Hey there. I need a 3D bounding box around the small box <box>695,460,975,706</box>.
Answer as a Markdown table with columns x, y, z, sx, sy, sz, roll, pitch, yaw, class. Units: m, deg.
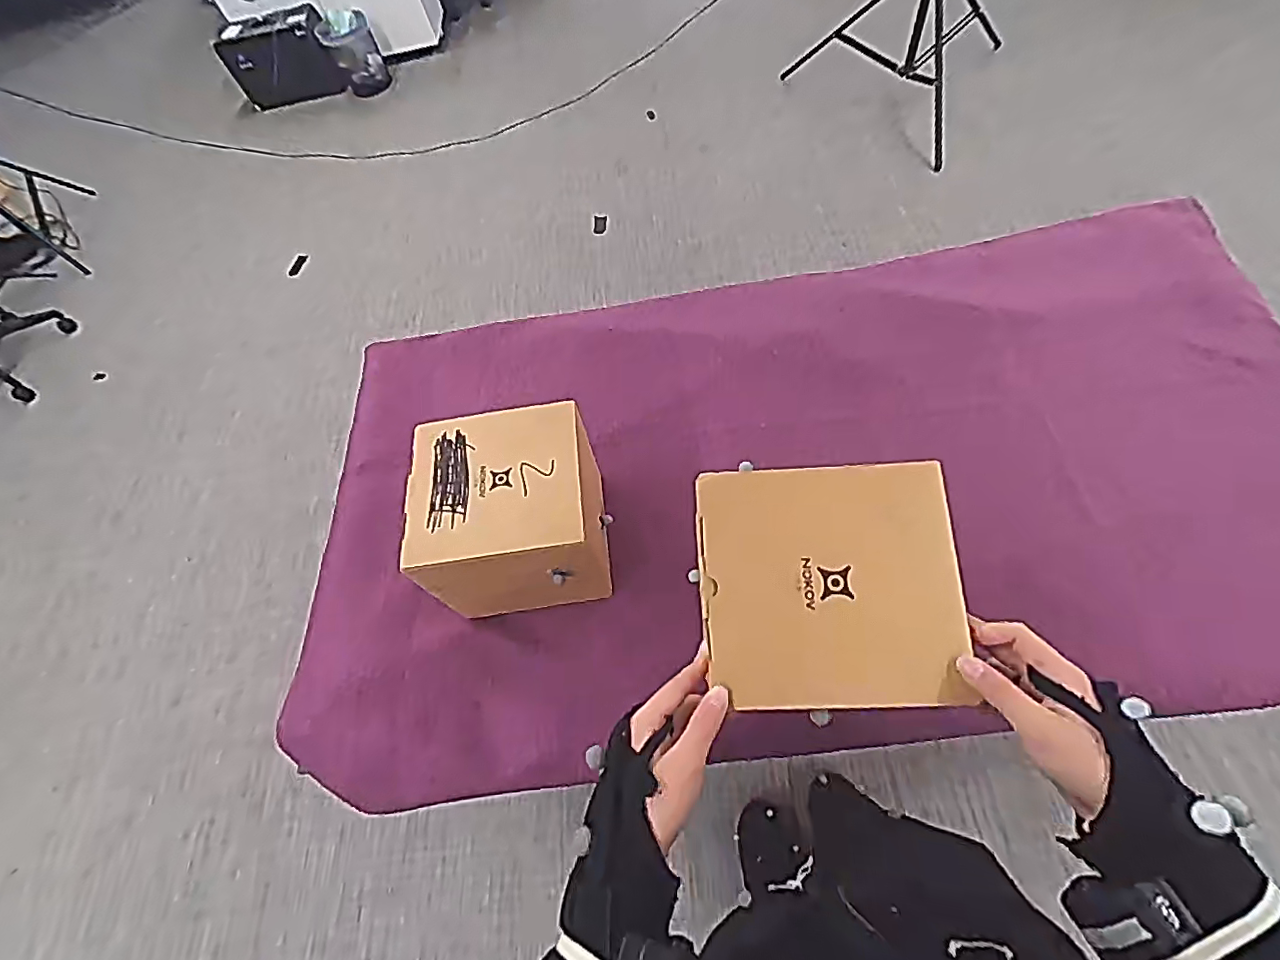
| x | y | z | sx | sy | sz | roll | pitch | yaw | class |
| --- | --- | --- | --- | --- | --- | --- | --- | --- | --- |
| 0.137 | 0.087 | 0.452 | 0.179 | 0.176 | 0.168 | -4 | 76 | 6 | small box |
